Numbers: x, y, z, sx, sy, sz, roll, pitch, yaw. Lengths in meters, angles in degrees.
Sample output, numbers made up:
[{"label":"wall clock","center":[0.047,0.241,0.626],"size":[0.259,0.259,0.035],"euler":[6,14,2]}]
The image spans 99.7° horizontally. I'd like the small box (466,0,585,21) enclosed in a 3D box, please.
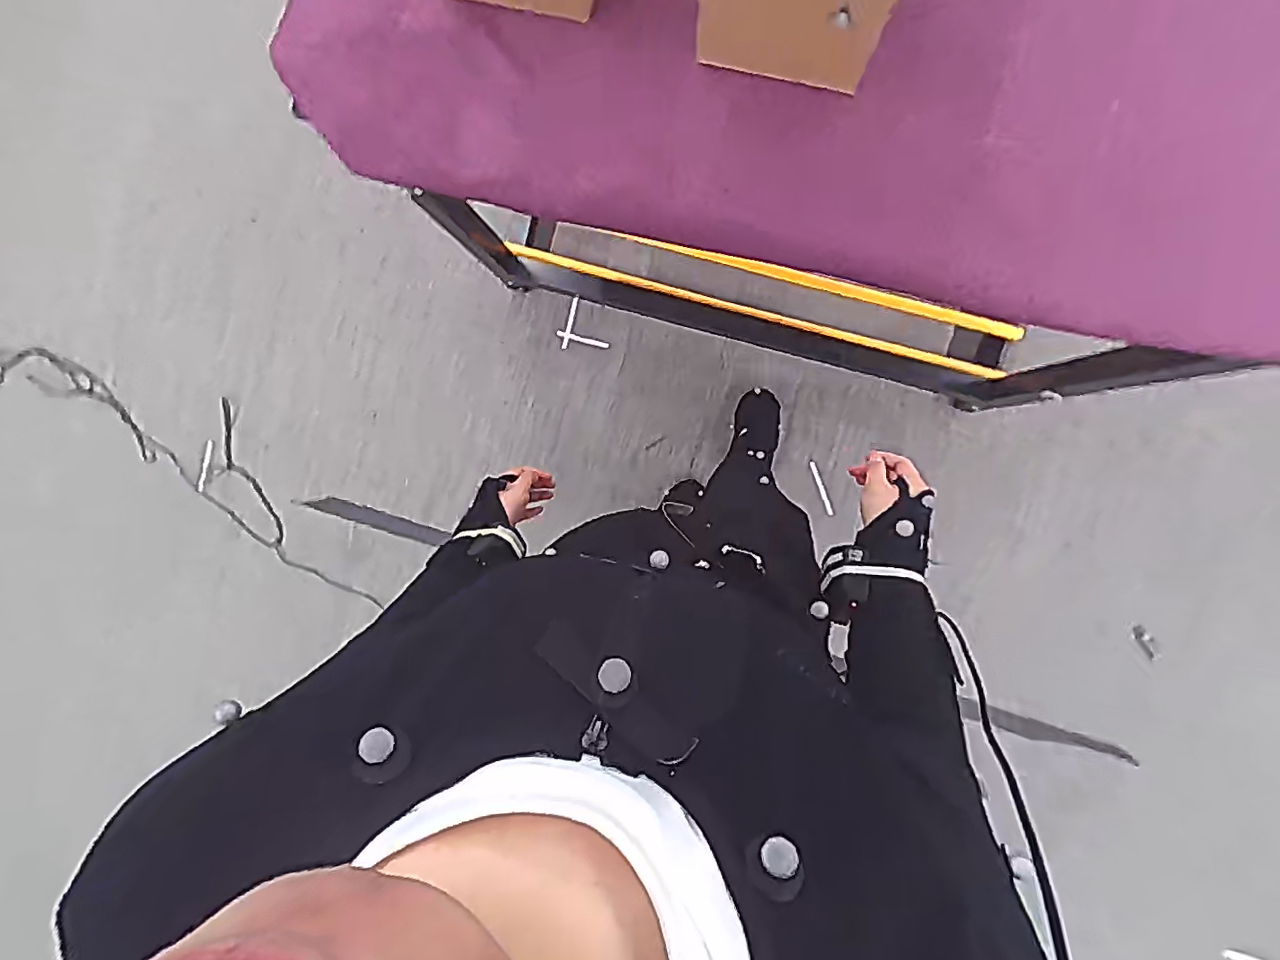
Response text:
[{"label":"small box","center":[-0.129,-0.608,0.533],"size":[0.179,0.176,0.168],"euler":[13,93,1]}]
